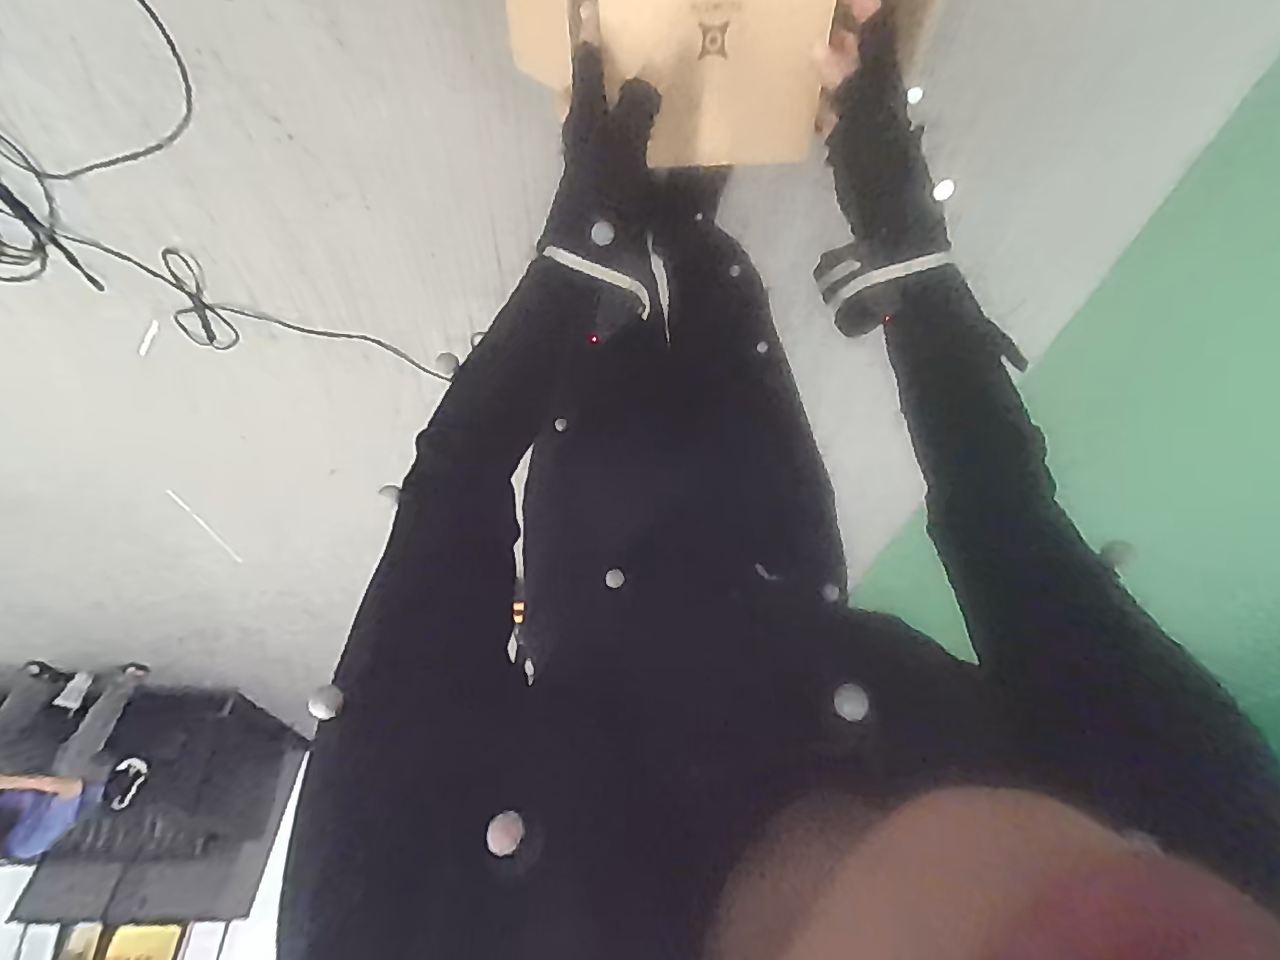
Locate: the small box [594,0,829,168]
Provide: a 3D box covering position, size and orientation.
[{"bbox_3d":[0.053,-0.382,0.439,0.168,0.176,0.179,-1,140,3],"label":"small box"}]
